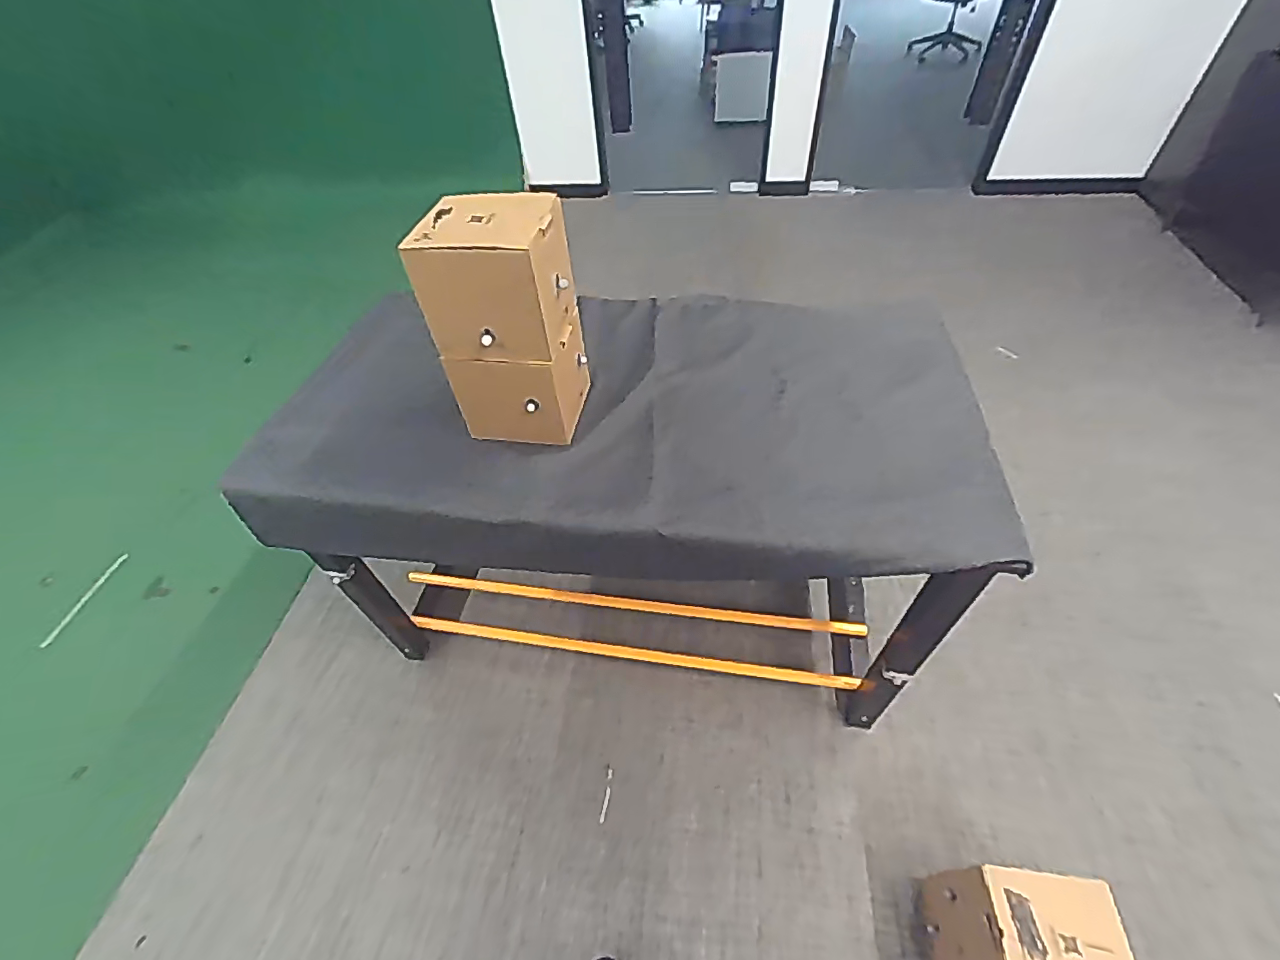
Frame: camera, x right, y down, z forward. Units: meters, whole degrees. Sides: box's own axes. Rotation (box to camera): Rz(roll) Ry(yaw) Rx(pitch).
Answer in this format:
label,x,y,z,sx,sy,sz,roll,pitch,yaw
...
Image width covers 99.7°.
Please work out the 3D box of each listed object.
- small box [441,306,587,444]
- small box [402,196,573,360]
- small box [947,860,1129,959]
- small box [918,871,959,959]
label,x,y,z,sx,sy,sz,roll,pitch,yaw
small box,-0.195,-0.176,0.904,0.179,0.176,0.168,4,48,8
small box,-0.204,-0.291,0.787,0.179,0.176,0.168,4,48,7
small box,0.595,0.701,0.822,0.179,0.176,0.168,4,49,7
small box,0.617,0.808,0.946,0.179,0.176,0.168,5,49,9
